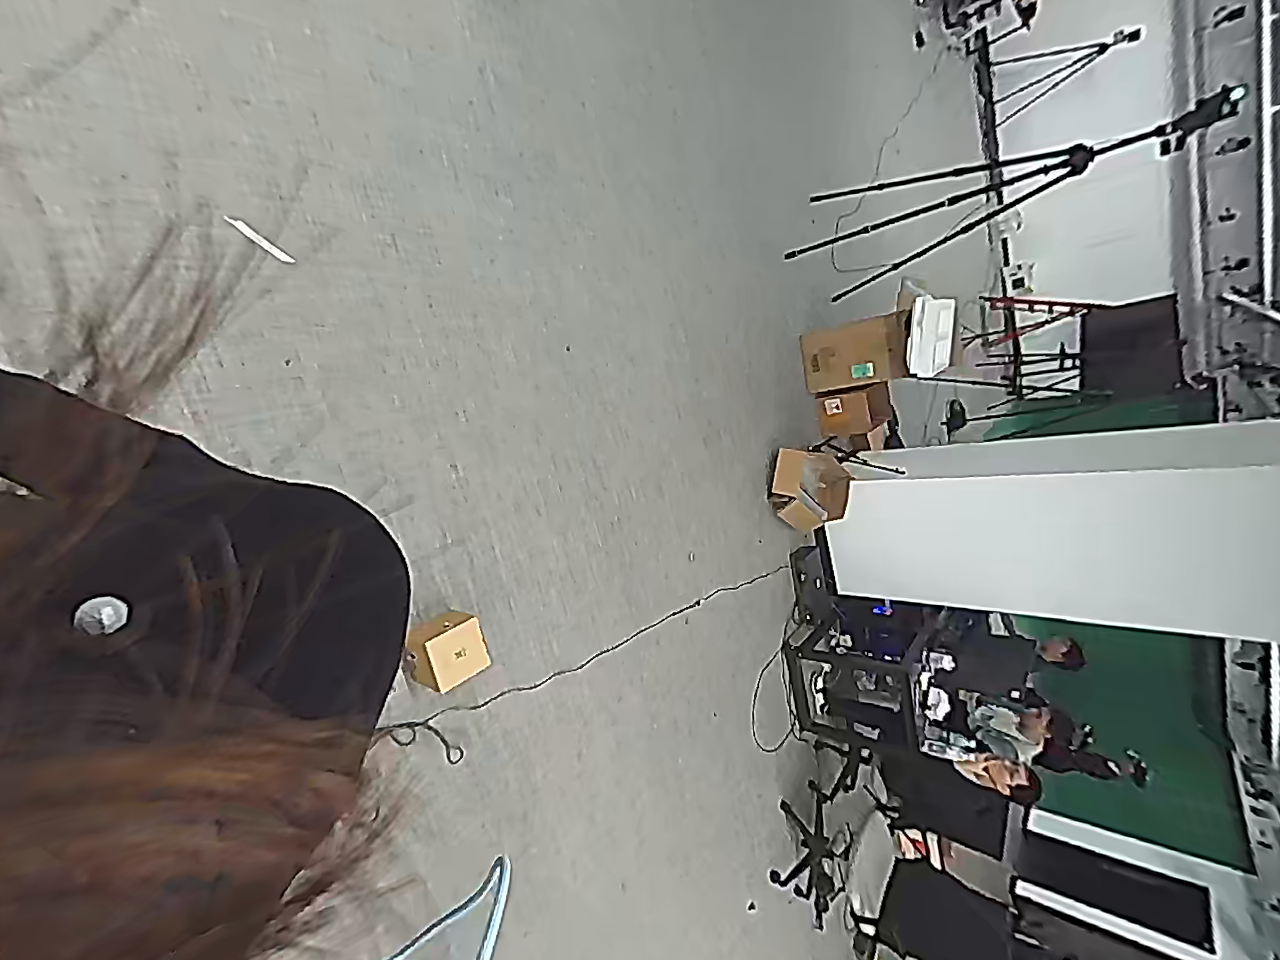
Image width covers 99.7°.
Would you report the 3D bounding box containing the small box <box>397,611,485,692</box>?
[{"bbox_3d":[-0.611,0.515,1.658,0.179,0.176,0.168,-22,103,-45],"label":"small box"}]
